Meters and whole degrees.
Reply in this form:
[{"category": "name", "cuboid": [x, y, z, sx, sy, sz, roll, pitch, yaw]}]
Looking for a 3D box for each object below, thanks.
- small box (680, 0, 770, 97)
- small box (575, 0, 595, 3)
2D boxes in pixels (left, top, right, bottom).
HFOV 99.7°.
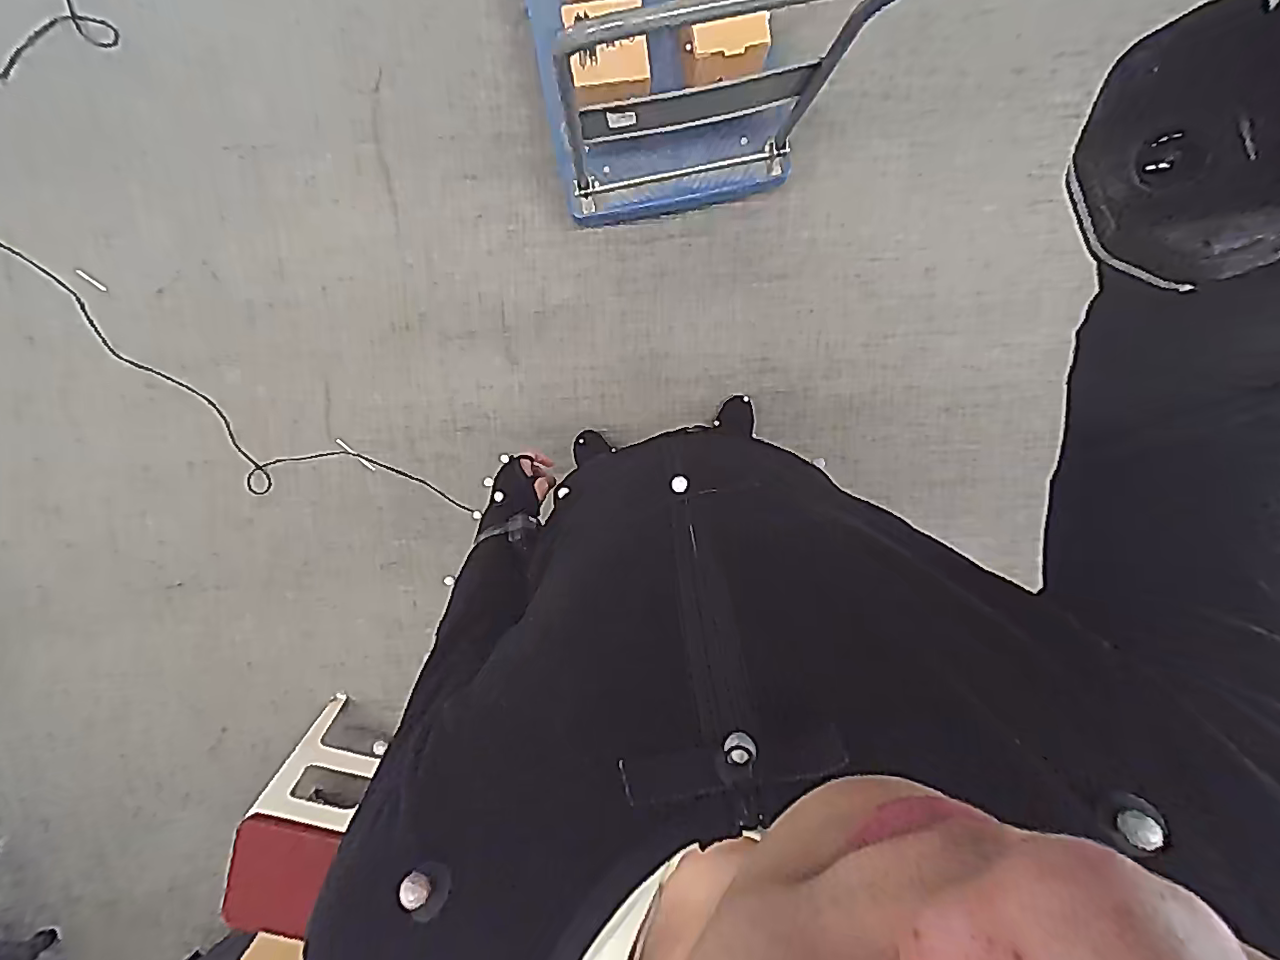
[{"category": "small box", "cuboid": [0.191, -1.038, 1.253, 0.168, 0.176, 0.179, -10, 98, 1]}, {"category": "small box", "cuboid": [-0.106, -1.236, 1.224, 0.168, 0.176, 0.179, -15, 97, 1]}]
